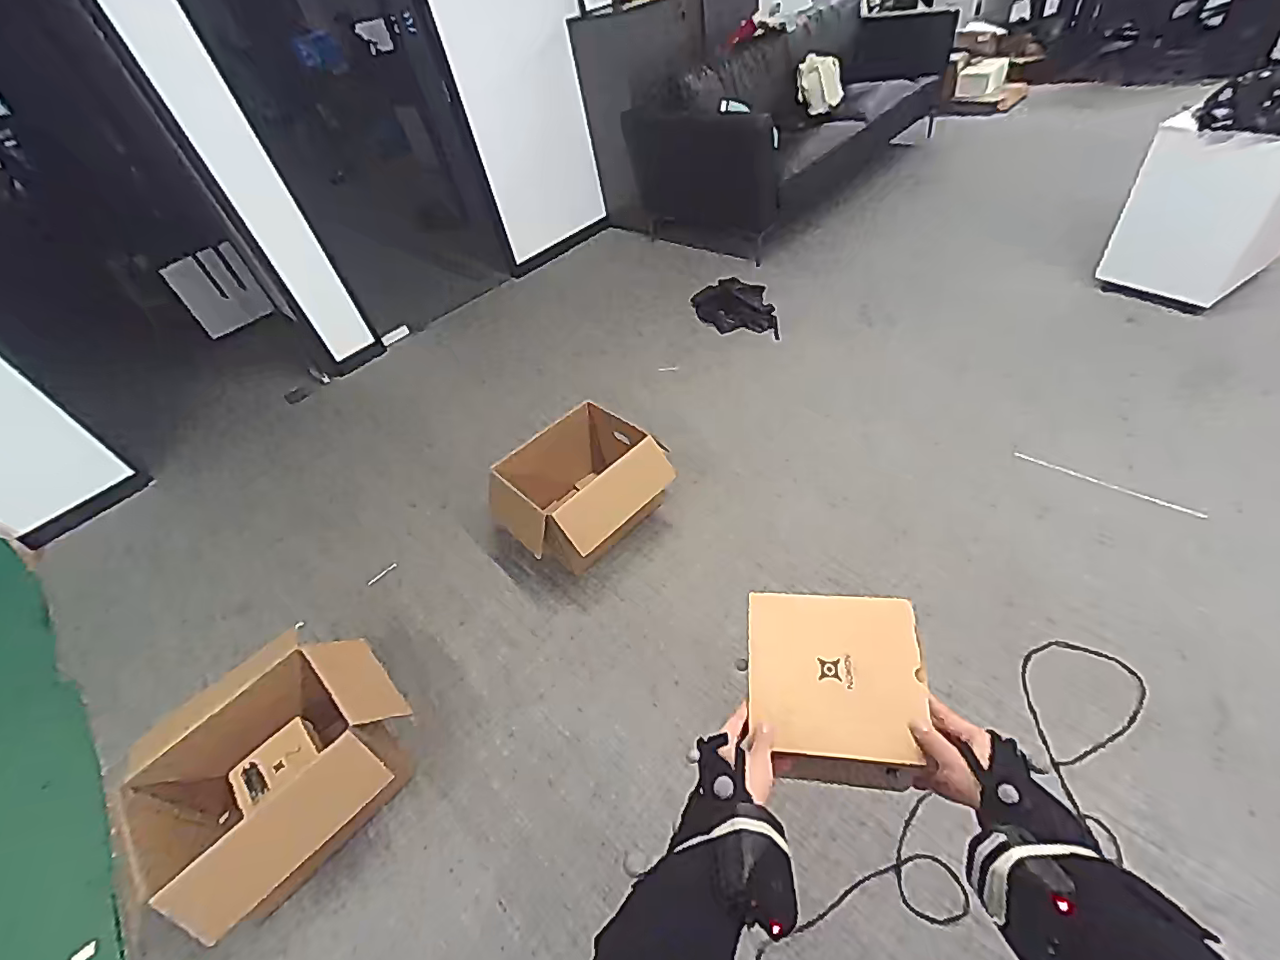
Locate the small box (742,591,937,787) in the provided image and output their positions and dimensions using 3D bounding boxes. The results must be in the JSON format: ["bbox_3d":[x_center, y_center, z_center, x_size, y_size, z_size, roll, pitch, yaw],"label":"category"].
[{"bbox_3d":[0.208,0.240,0.614,0.179,0.176,0.168,0,54,11],"label":"small box"}]
